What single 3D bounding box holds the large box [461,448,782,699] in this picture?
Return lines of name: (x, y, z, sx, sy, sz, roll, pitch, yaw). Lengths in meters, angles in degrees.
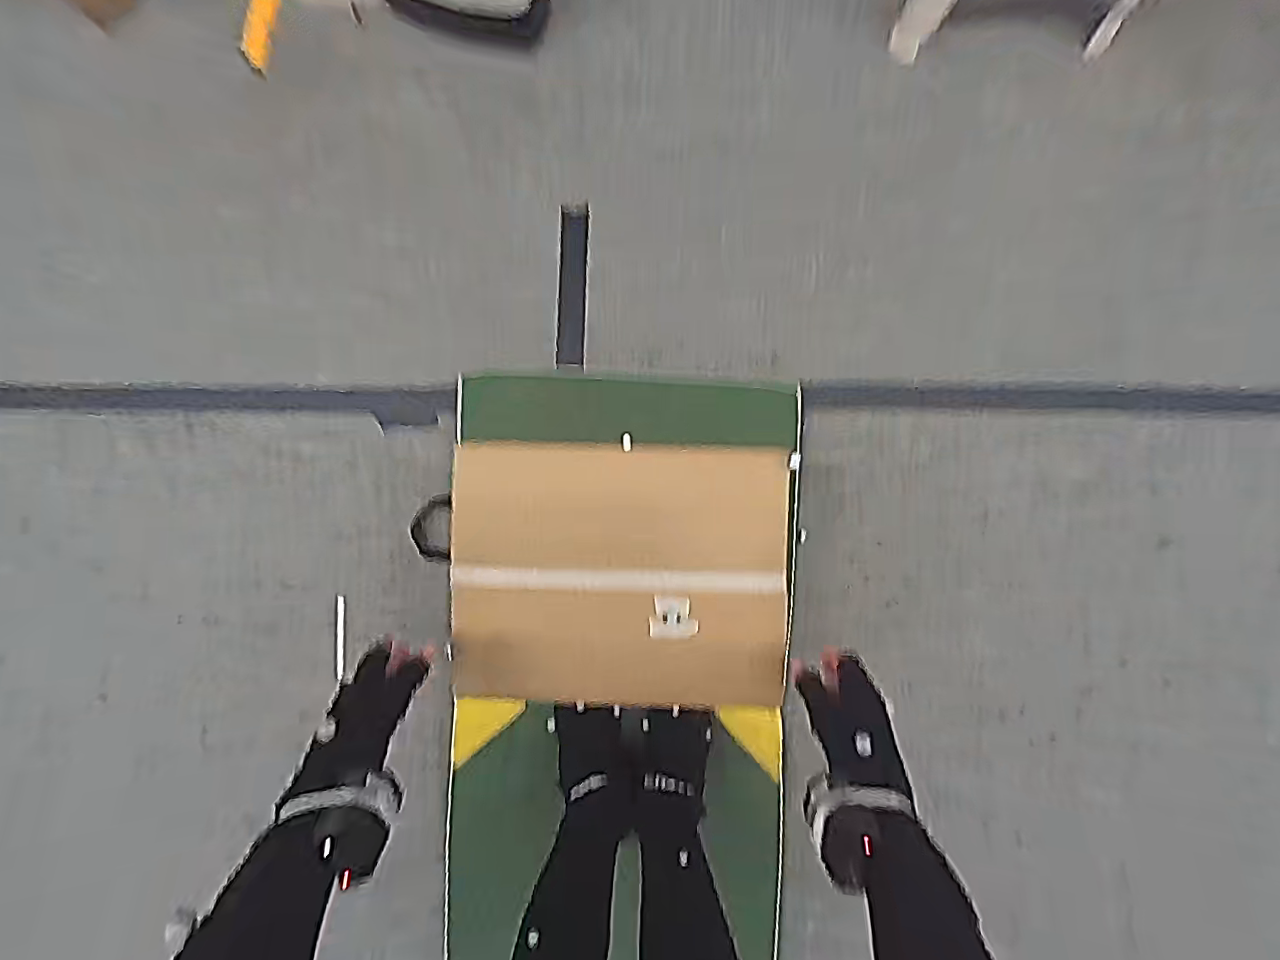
large box: (-0.025, 0.116, 0.817, 0.408, 0.320, 0.320, 1, 92, 0)
